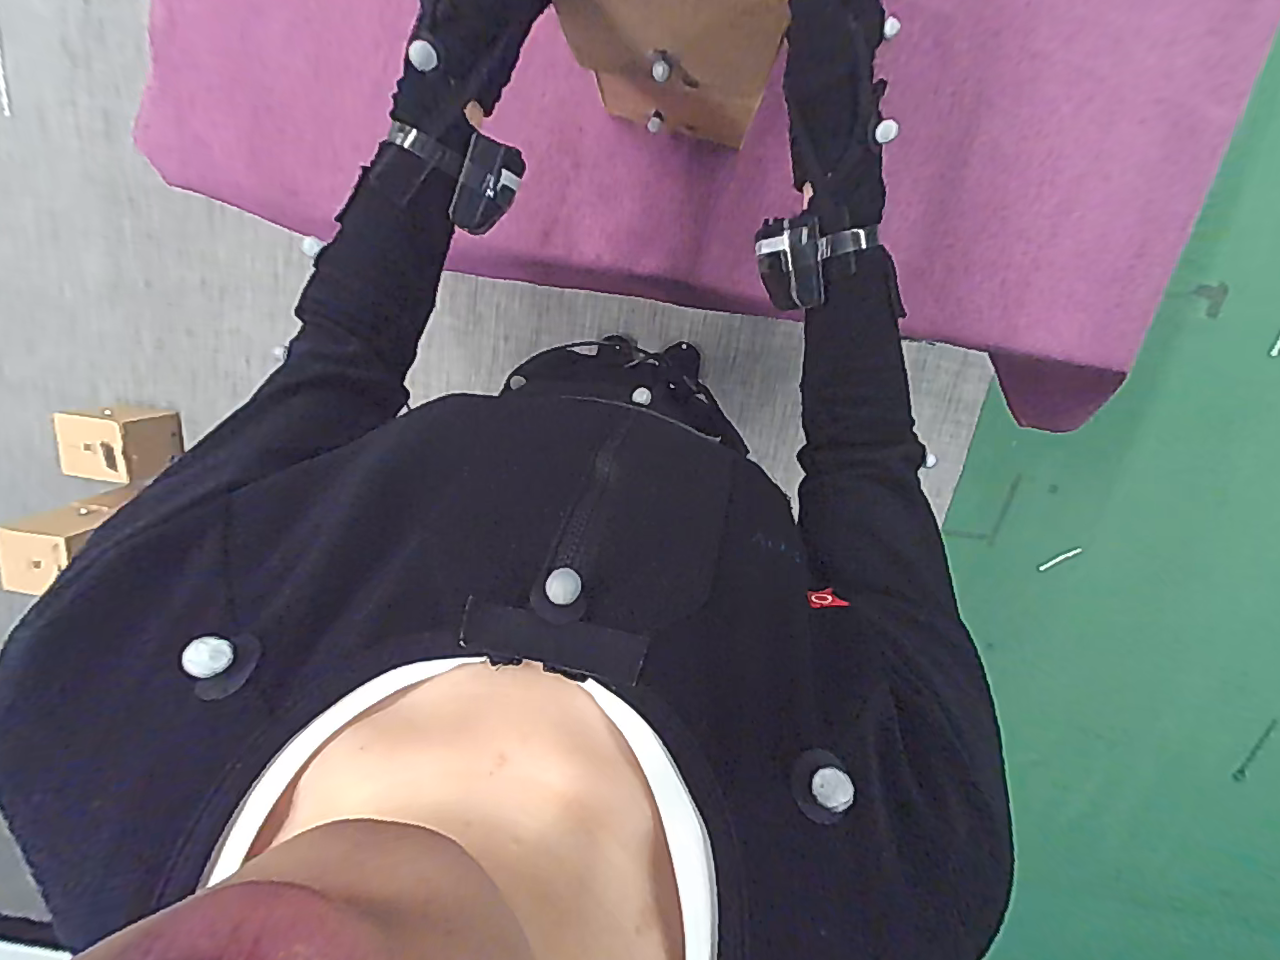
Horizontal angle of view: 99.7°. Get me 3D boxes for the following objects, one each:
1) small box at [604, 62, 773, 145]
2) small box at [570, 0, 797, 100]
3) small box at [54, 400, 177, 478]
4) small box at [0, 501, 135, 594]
[{"bbox_3d":[0.058,-0.466,0.526,0.168,0.176,0.179,15,106,0],"label":"small box"},{"bbox_3d":[0.040,-0.409,0.373,0.168,0.176,0.179,14,106,0],"label":"small box"},{"bbox_3d":[-1.387,-0.115,1.448,0.179,0.176,0.168,9,105,1],"label":"small box"},{"bbox_3d":[-1.435,0.162,1.359,0.179,0.176,0.168,10,106,1],"label":"small box"}]
